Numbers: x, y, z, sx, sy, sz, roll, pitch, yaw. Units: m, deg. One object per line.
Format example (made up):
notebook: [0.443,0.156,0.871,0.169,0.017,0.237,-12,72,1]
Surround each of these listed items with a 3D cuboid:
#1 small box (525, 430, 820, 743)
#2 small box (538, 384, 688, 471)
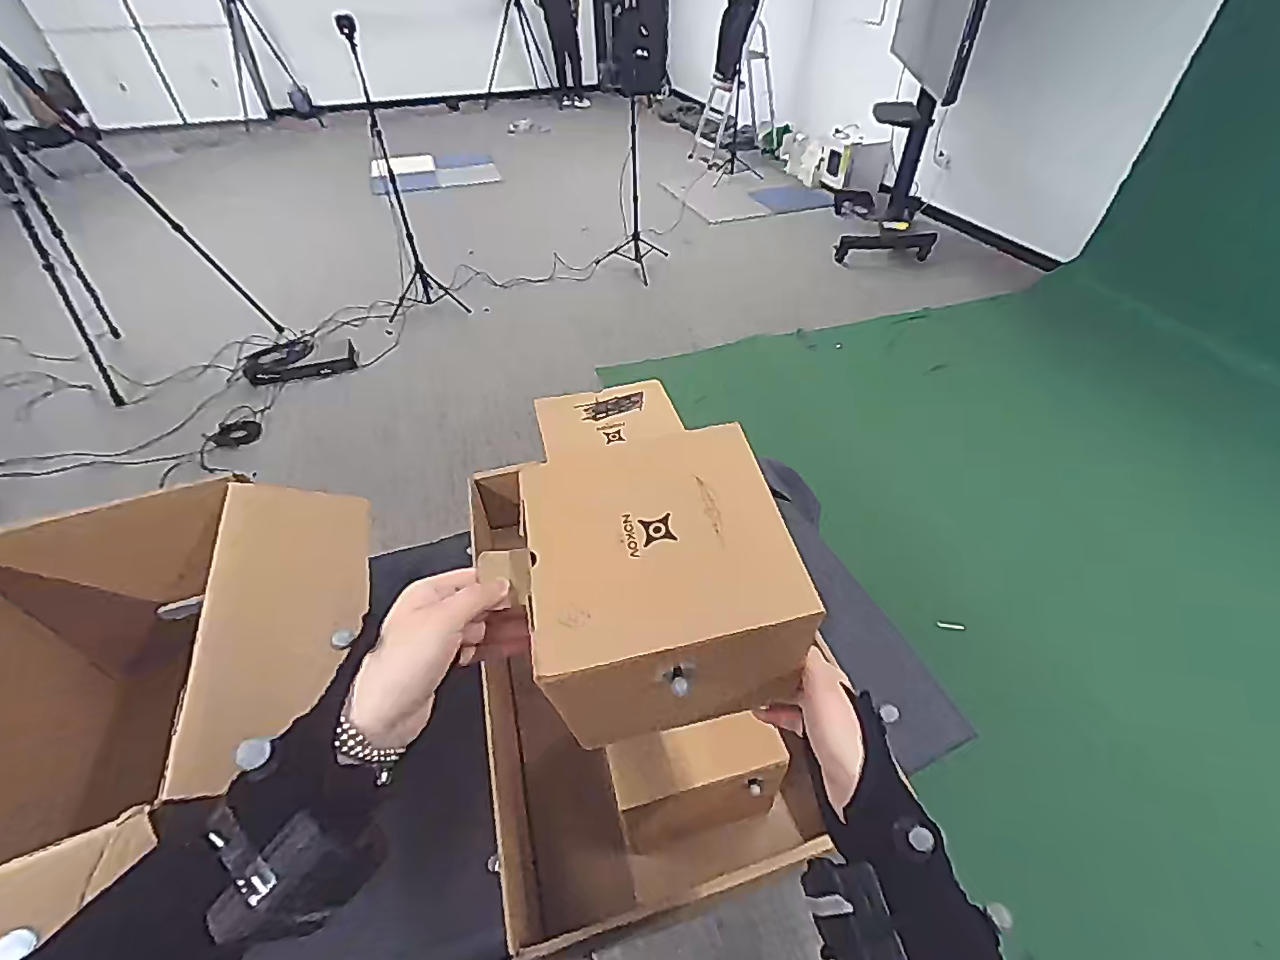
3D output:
small box: [0.019,0.090,0.432,0.179,0.176,0.168,-13,51,-4]
small box: [-0.030,0.005,0.691,0.168,0.176,0.179,-12,47,-11]
